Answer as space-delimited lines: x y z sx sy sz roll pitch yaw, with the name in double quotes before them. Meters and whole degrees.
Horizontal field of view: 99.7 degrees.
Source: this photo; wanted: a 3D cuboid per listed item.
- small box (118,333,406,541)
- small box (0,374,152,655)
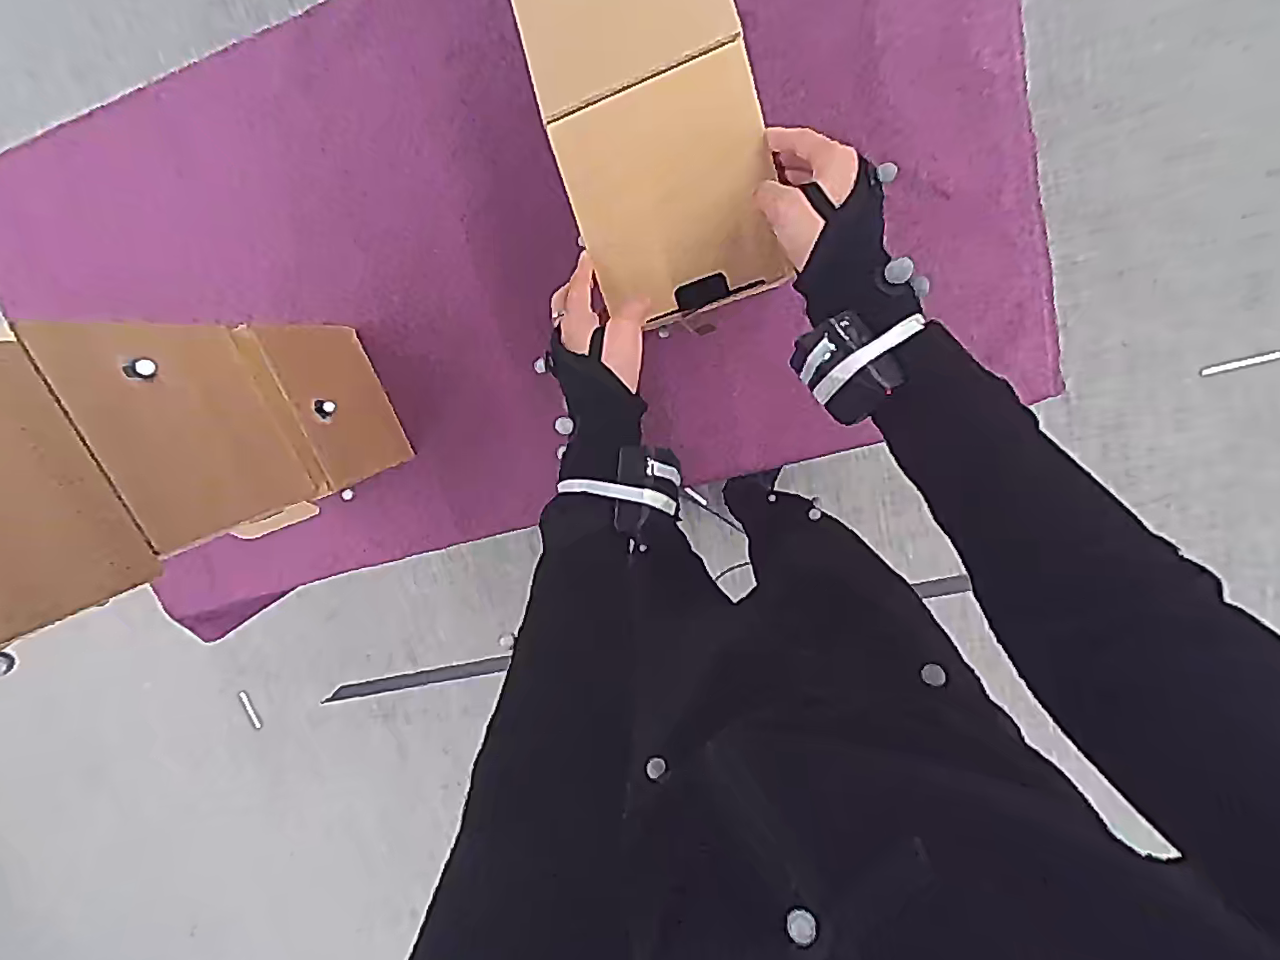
"small box" -0.403 -0.059 0.613 0.168 0.176 0.179 -18 102 10
"small box" -0.450 0.040 0.301 0.168 0.176 0.179 -21 101 12
